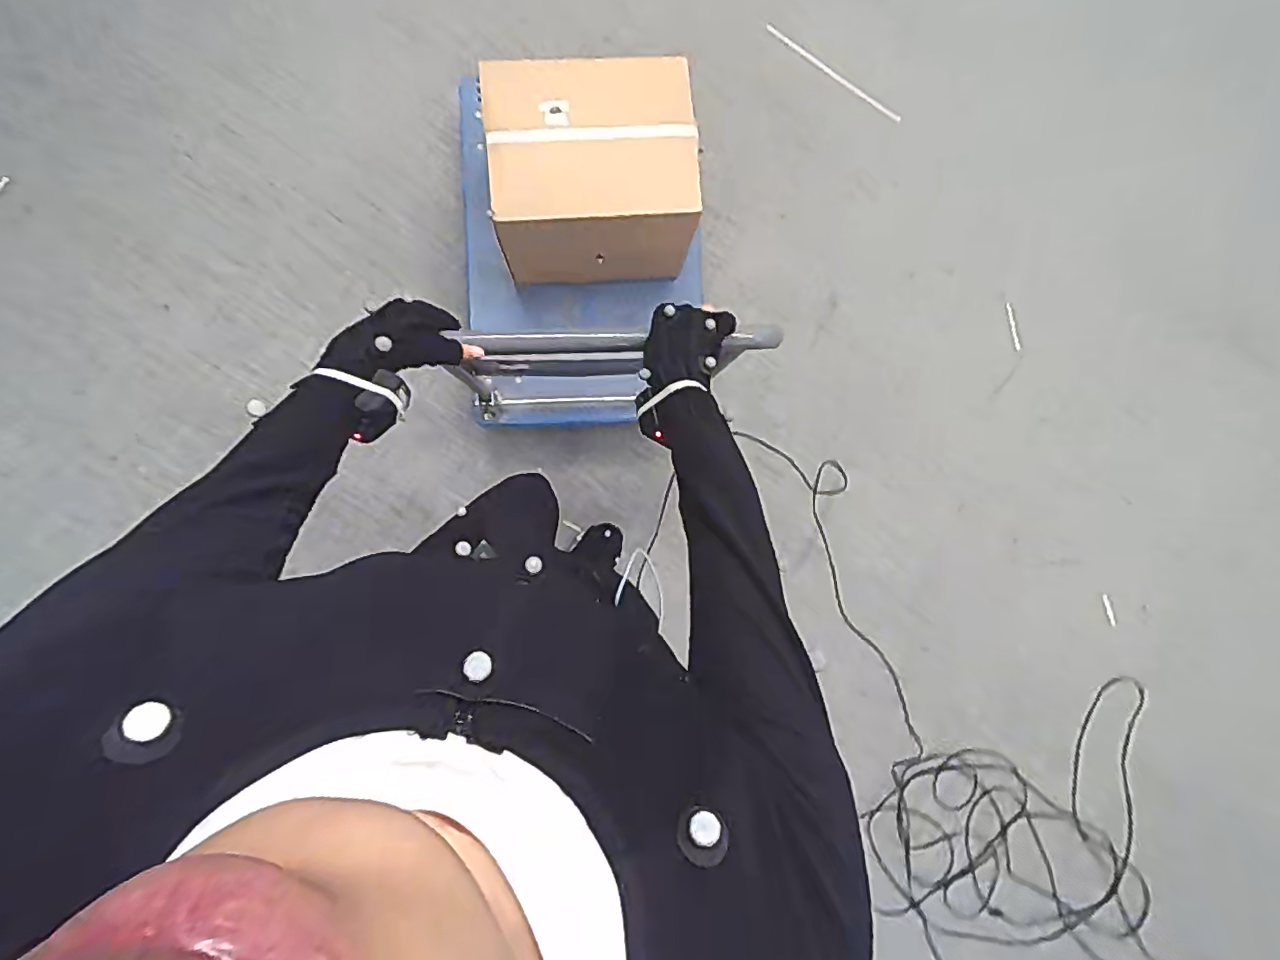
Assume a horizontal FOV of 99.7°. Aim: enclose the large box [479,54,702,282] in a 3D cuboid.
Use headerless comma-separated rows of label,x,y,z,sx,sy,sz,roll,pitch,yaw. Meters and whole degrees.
large box,-0.103,-0.652,1.182,0.408,0.320,0.320,-6,88,-5
